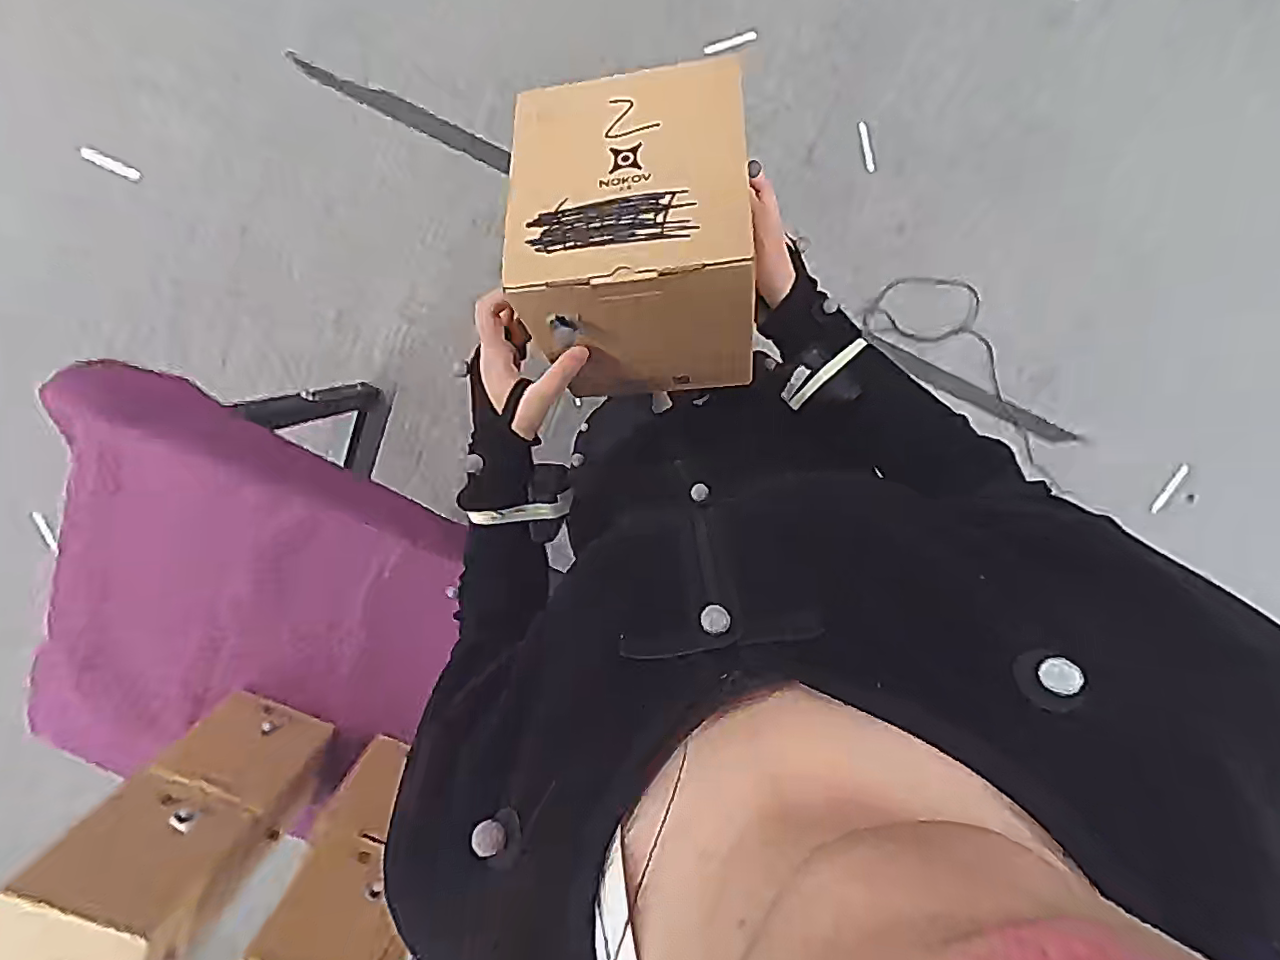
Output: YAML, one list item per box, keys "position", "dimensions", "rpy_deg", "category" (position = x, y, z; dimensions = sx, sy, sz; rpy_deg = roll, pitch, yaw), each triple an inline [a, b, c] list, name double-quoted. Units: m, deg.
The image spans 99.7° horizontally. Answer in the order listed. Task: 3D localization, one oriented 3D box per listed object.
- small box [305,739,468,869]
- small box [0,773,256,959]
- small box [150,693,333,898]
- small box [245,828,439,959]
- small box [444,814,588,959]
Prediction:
- position: [-0.383, 0.539, 0.828]
  dimensions: [0.168, 0.176, 0.179]
  rpy_deg: [24, 104, -4]
  category: "small box"
- position: [-0.614, 0.507, 0.659]
  dimensions: [0.168, 0.176, 0.179]
  rpy_deg: [21, 103, -4]
  category: "small box"
- position: [-0.602, 0.464, 0.816]
  dimensions: [0.168, 0.176, 0.179]
  rpy_deg: [24, 103, -5]
  category: "small box"
- position: [-0.377, 0.590, 0.673]
  dimensions: [0.168, 0.176, 0.179]
  rpy_deg: [26, 103, -5]
  category: "small box"
- position: [-0.191, 0.679, 0.857]
  dimensions: [0.168, 0.176, 0.179]
  rpy_deg: [26, 102, -5]
  category: "small box"
